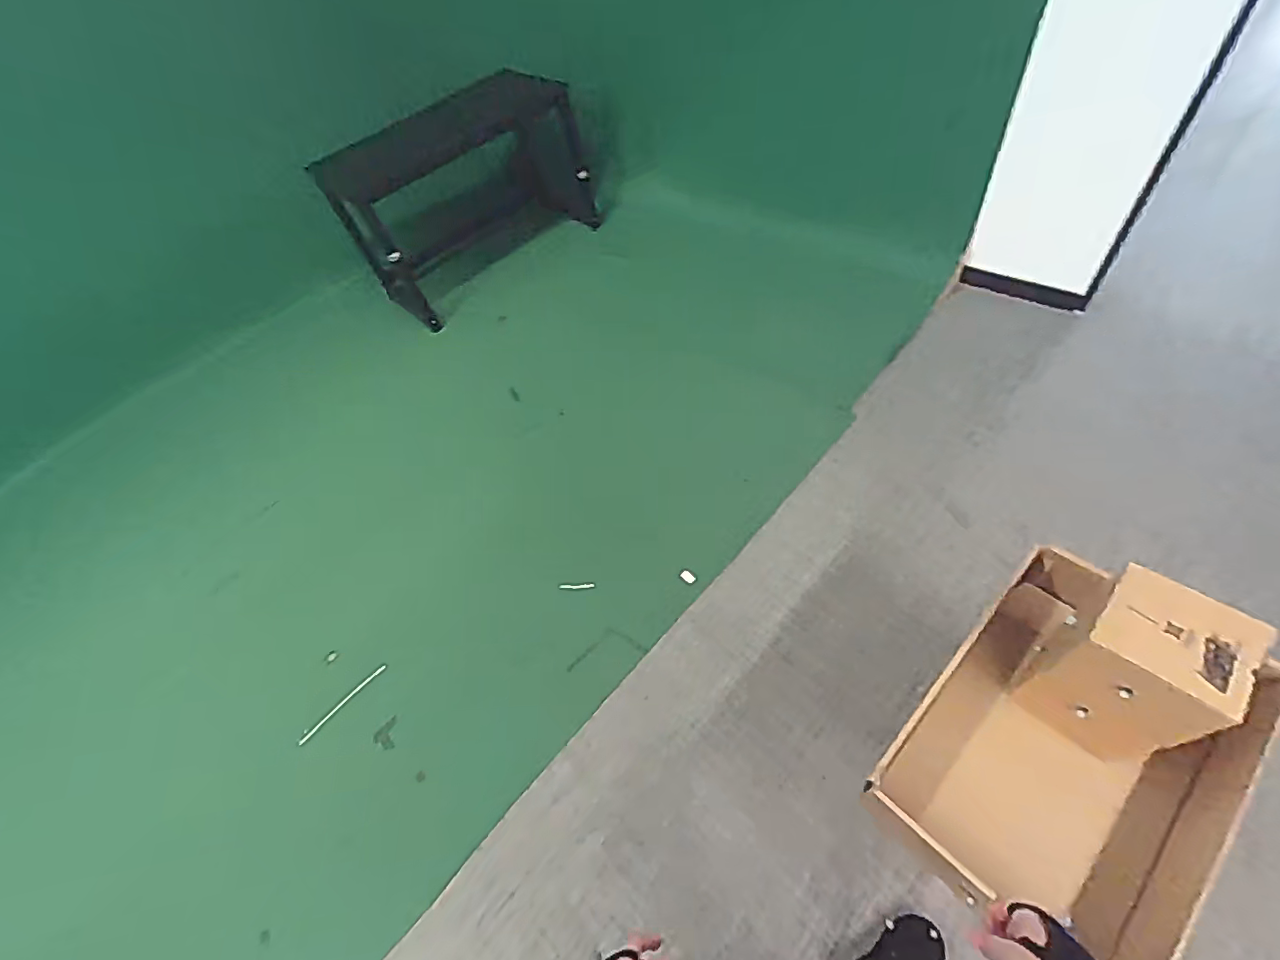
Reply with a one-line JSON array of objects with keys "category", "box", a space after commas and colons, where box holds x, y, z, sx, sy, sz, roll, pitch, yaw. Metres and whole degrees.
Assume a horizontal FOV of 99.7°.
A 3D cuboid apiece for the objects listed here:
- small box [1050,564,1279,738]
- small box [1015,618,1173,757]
[{"category": "small box", "box": [0.788, 0.268, 0.831, 0.179, 0.176, 0.168, 34, 67, 32]}, {"category": "small box", "box": [0.820, 0.363, 0.961, 0.168, 0.176, 0.179, -42, 56, -18]}]
